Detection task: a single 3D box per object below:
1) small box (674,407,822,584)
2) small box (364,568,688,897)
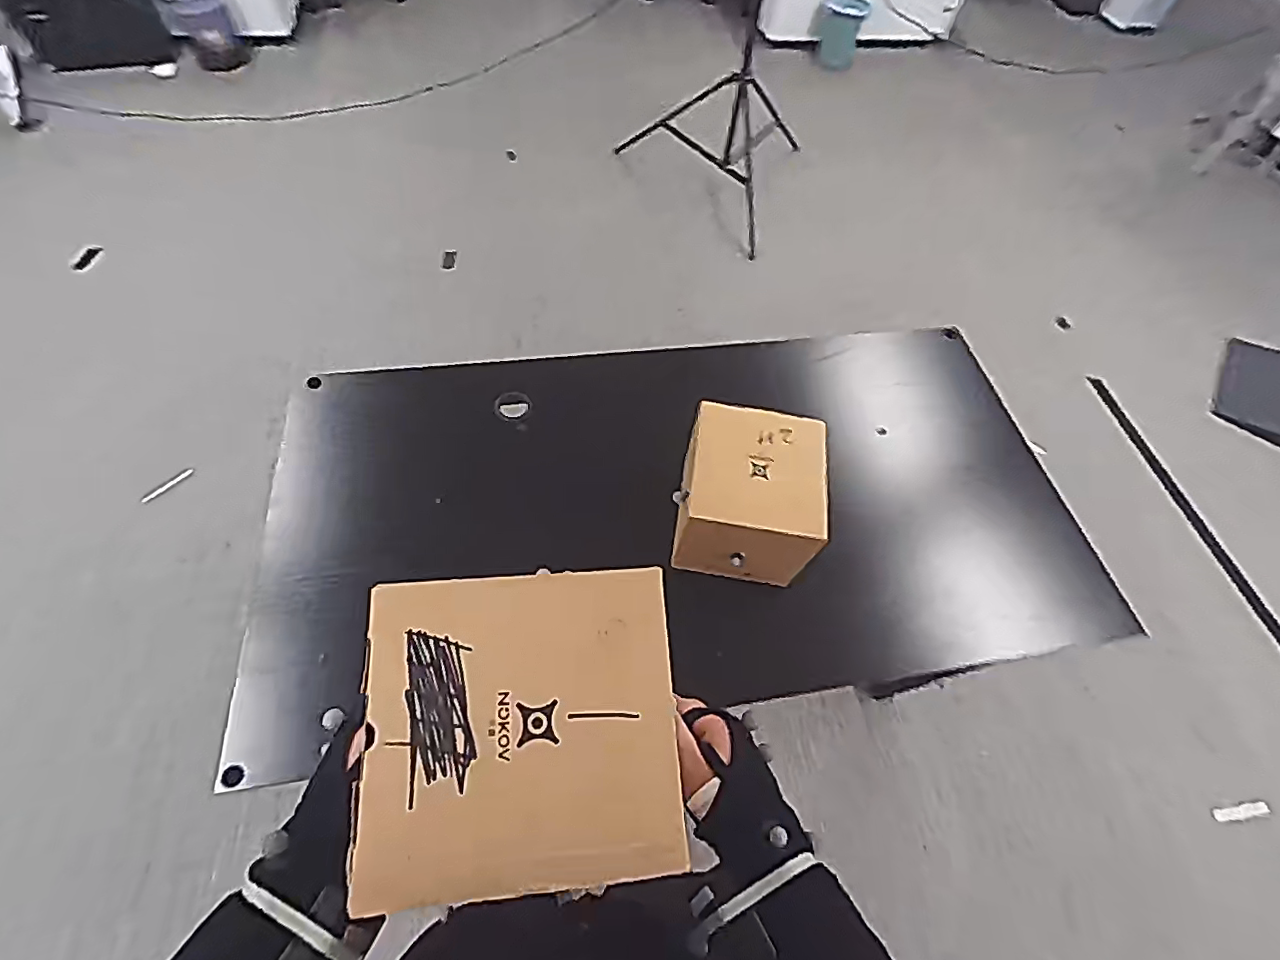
[{"bbox_3d":[0.143,0.028,0.749,0.168,0.176,0.179,10,59,1],"label":"small box"},{"bbox_3d":[-0.071,0.164,0.391,0.179,0.176,0.168,-3,72,-7],"label":"small box"}]
